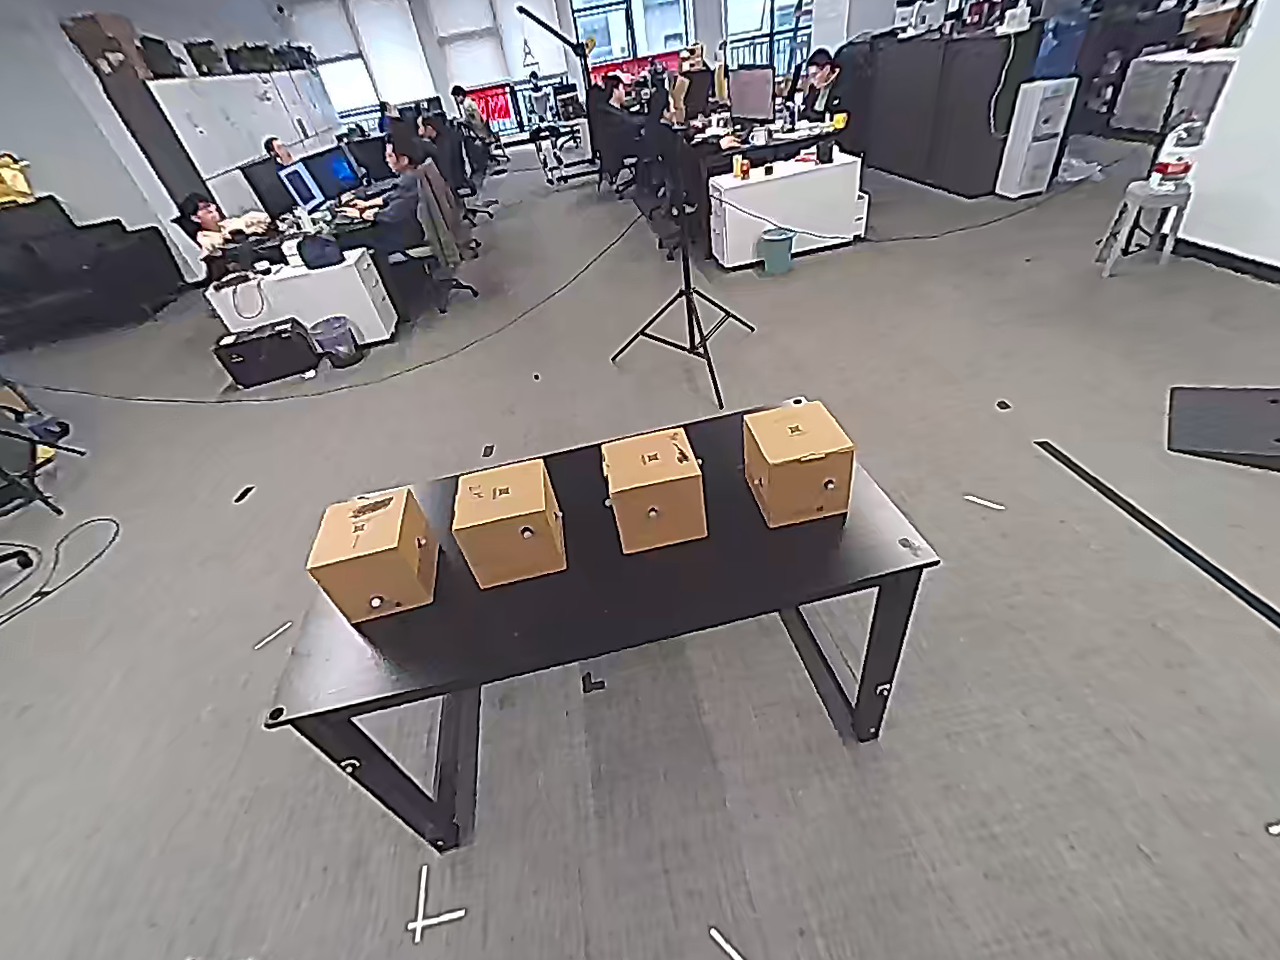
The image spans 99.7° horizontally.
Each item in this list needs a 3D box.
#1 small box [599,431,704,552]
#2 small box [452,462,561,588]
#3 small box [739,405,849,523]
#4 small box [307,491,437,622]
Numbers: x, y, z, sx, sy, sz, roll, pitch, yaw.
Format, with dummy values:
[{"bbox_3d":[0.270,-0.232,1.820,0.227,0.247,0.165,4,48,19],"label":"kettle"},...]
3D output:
[{"bbox_3d":[0.024,0.026,1.111,0.179,0.176,0.168,-13,39,-1],"label":"small box"},{"bbox_3d":[-0.261,0.091,1.096,0.179,0.176,0.168,-13,39,-3],"label":"small box"},{"bbox_3d":[0.310,-0.027,1.110,0.168,0.176,0.179,-11,38,-1],"label":"small box"},{"bbox_3d":[-0.520,0.153,1.082,0.168,0.176,0.179,-14,40,-4],"label":"small box"}]
